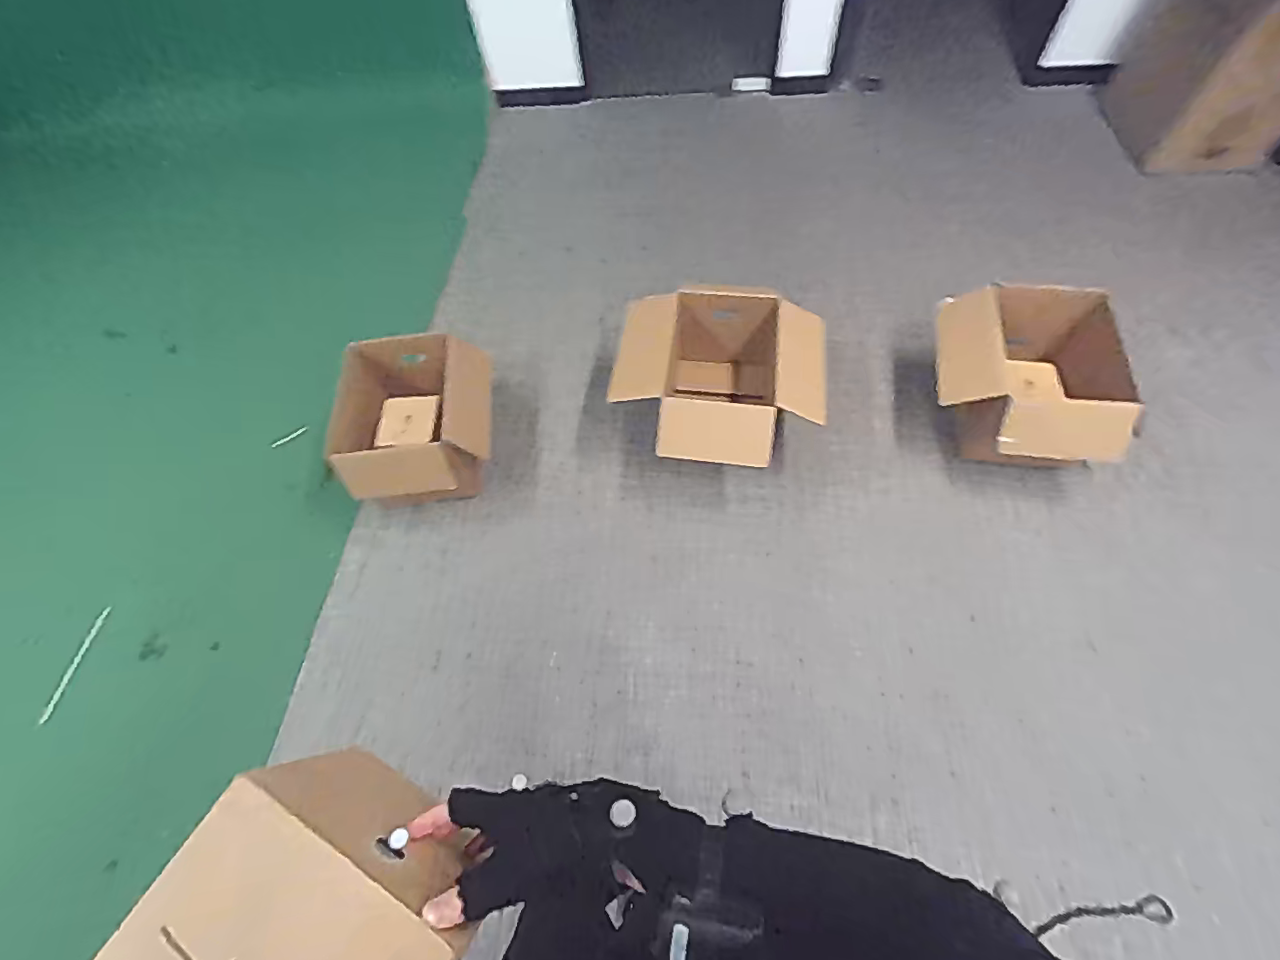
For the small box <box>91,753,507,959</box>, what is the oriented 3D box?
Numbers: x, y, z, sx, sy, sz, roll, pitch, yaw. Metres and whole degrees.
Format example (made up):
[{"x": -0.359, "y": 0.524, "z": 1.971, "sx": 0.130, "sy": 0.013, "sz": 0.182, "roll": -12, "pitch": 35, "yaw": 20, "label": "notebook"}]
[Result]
[{"x": -0.218, "y": 0.315, "z": 0.374, "sx": 0.179, "sy": 0.176, "sz": 0.168, "roll": 32, "pitch": 71, "yaw": 11, "label": "small box"}]
